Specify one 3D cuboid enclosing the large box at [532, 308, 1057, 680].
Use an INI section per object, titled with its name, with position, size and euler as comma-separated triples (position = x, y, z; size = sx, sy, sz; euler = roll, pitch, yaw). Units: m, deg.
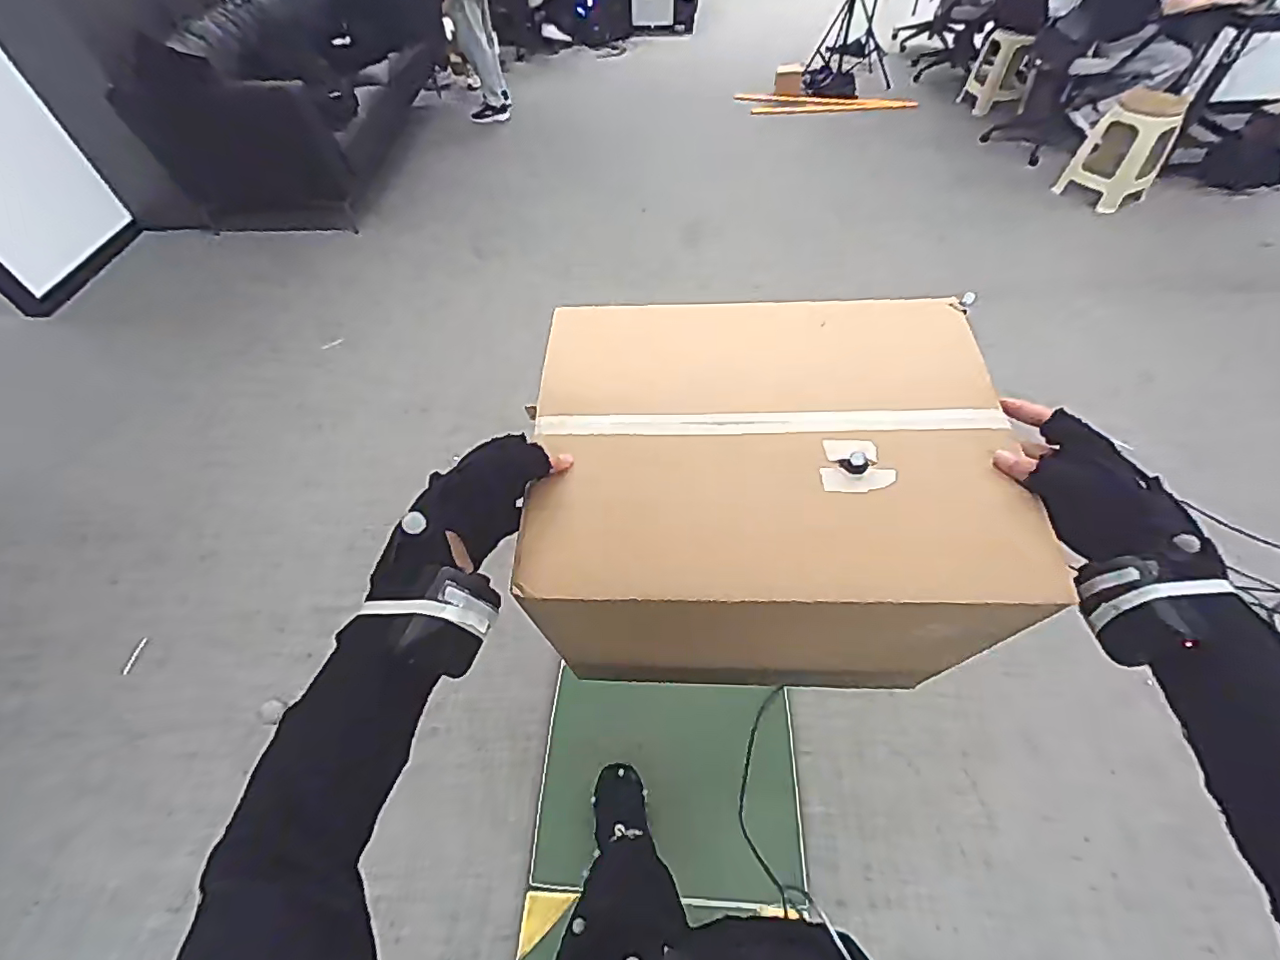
[large box]
position = 0.119, 0.033, 0.610
size = 0.408, 0.320, 0.320
euler = 0, 59, 3
